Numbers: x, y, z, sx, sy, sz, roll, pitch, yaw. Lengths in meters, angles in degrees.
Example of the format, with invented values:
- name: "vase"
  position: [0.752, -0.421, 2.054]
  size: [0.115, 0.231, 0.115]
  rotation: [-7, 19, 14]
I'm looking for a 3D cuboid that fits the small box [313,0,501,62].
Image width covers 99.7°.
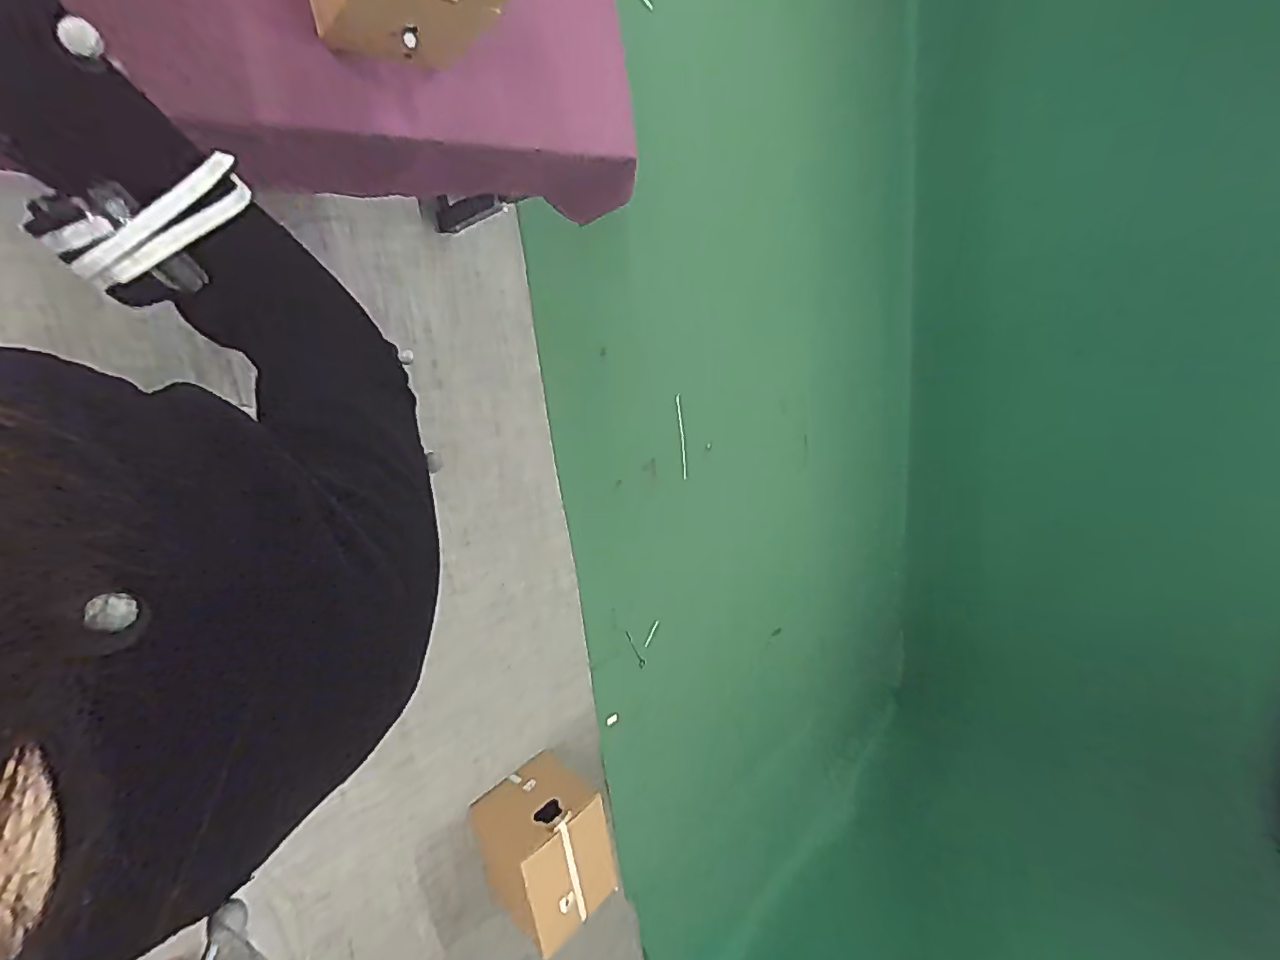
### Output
- name: "small box"
  position: [-0.293, -0.641, 0.642]
  size: [0.168, 0.176, 0.179]
  rotation: [-23, 113, -40]

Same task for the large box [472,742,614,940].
- name: "large box"
  position: [-0.325, 1.203, 1.842]
  size: [0.320, 0.320, 0.408]
  rotation: [-23, 113, -41]
